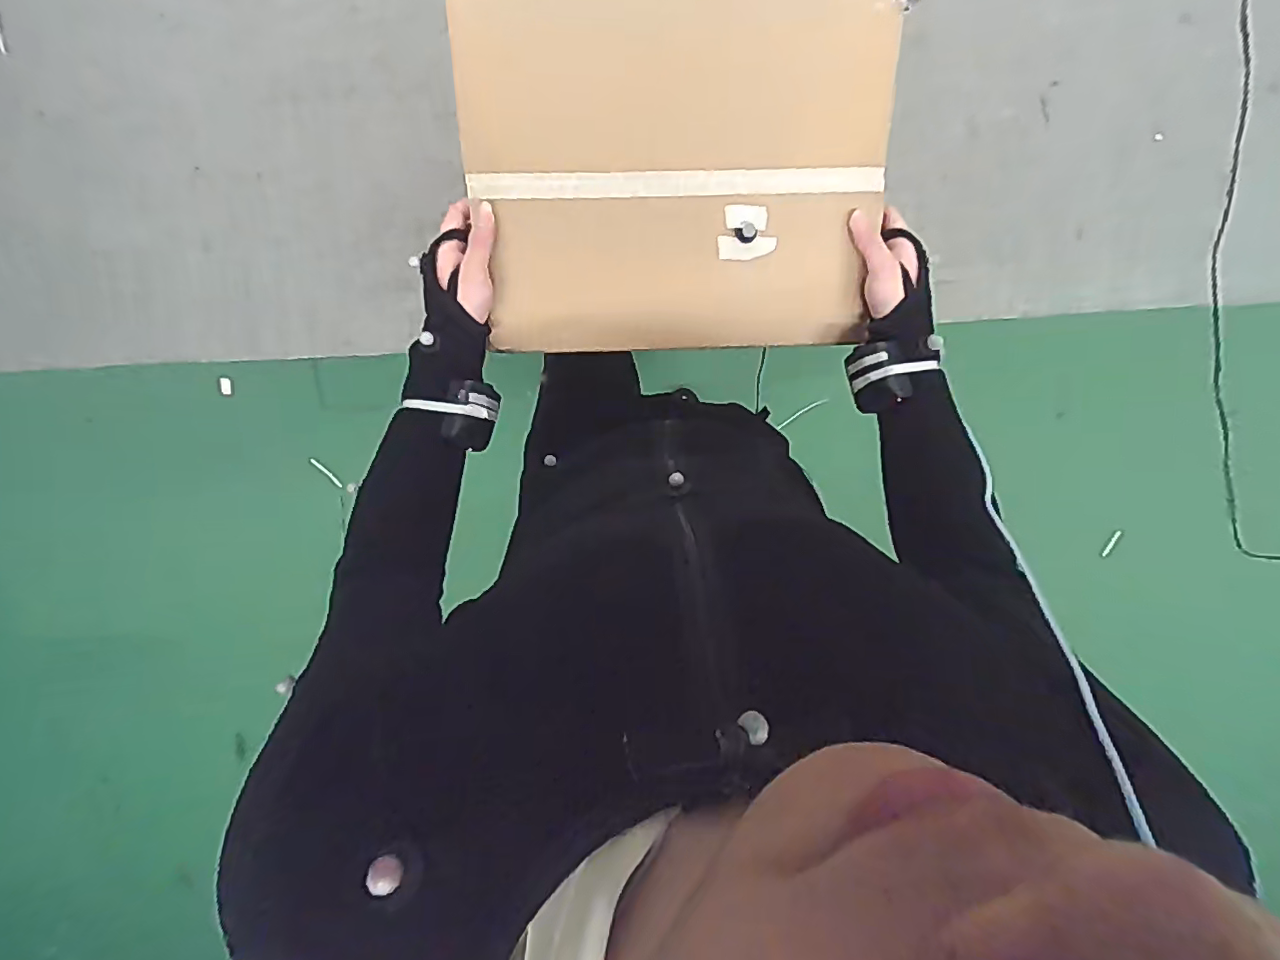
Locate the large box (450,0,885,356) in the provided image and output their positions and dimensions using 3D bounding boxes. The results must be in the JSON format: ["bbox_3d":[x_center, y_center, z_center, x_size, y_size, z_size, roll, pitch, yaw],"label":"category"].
[{"bbox_3d":[0.023,-0.339,0.675,0.408,0.320,0.320,-3,111,-3],"label":"large box"}]
